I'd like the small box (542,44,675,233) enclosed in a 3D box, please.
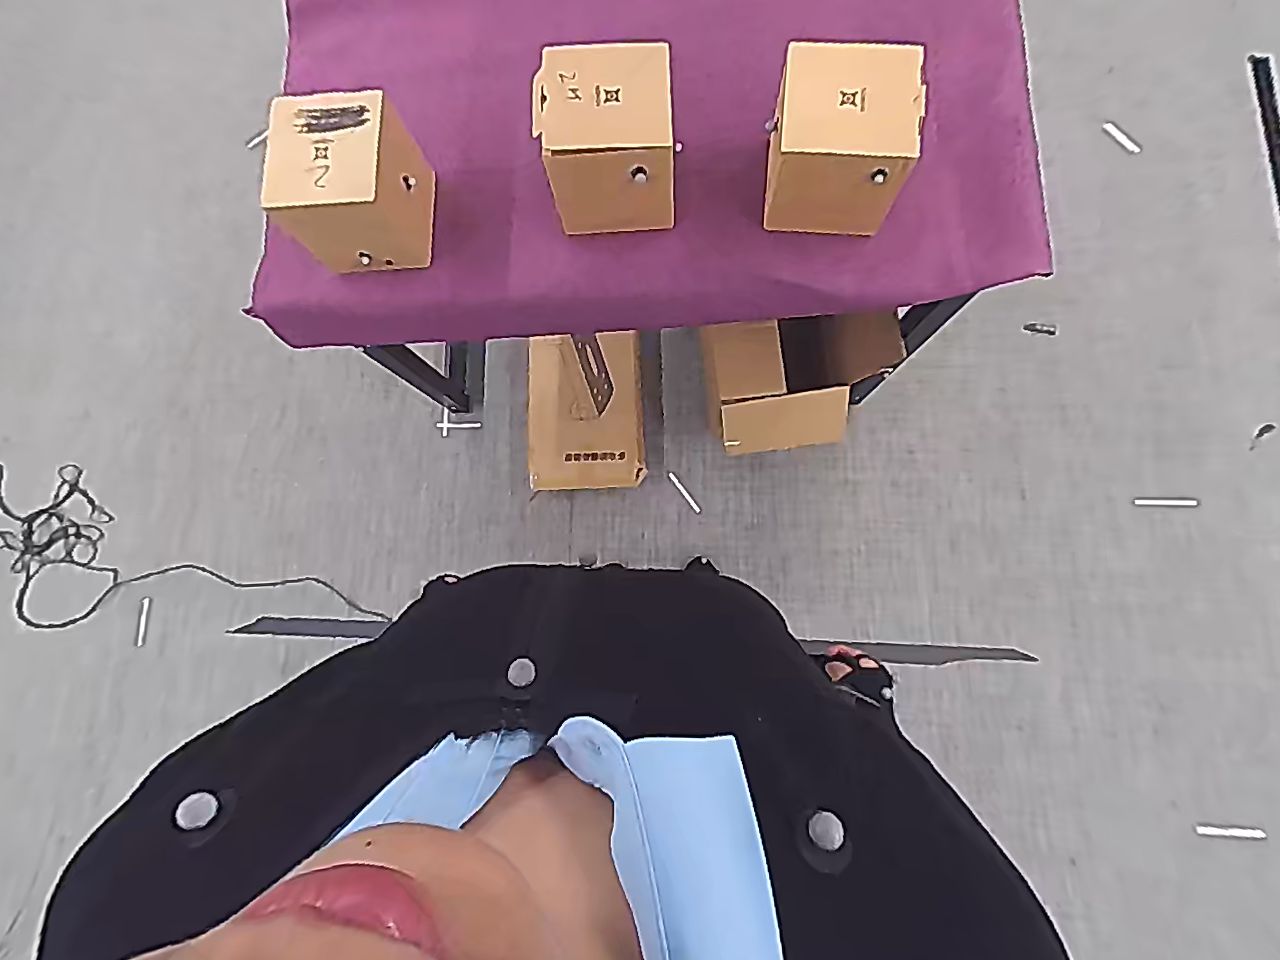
[{"bbox_3d":[-0.039,-0.491,0.797,0.179,0.176,0.168,-2,78,4],"label":"small box"}]

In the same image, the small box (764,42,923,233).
[{"bbox_3d":[0.278,-0.477,0.773,0.179,0.176,0.168,5,81,5],"label":"small box"}]
